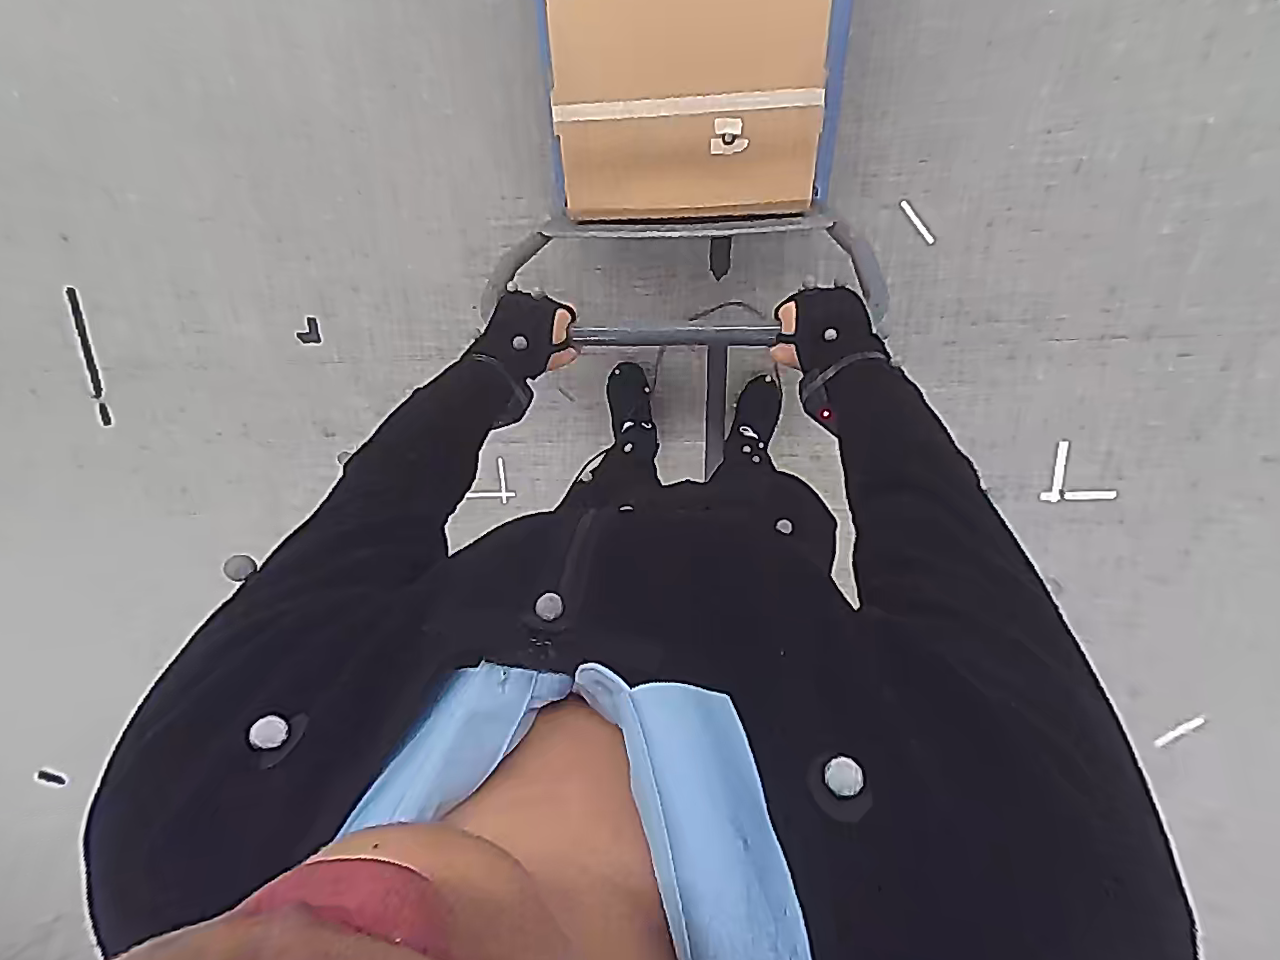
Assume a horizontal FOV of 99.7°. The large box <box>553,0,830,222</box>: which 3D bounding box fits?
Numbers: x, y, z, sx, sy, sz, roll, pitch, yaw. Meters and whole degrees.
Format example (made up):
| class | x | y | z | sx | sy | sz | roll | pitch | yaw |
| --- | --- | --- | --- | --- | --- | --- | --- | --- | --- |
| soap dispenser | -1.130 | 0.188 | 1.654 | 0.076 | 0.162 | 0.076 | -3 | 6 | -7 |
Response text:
| class | x | y | z | sx | sy | sz | roll | pitch | yaw |
| --- | --- | --- | --- | --- | --- | --- | --- | --- | --- |
| large box | 0.090 | -0.658 | 0.970 | 0.408 | 0.320 | 0.320 | 0 | 122 | 6 |
